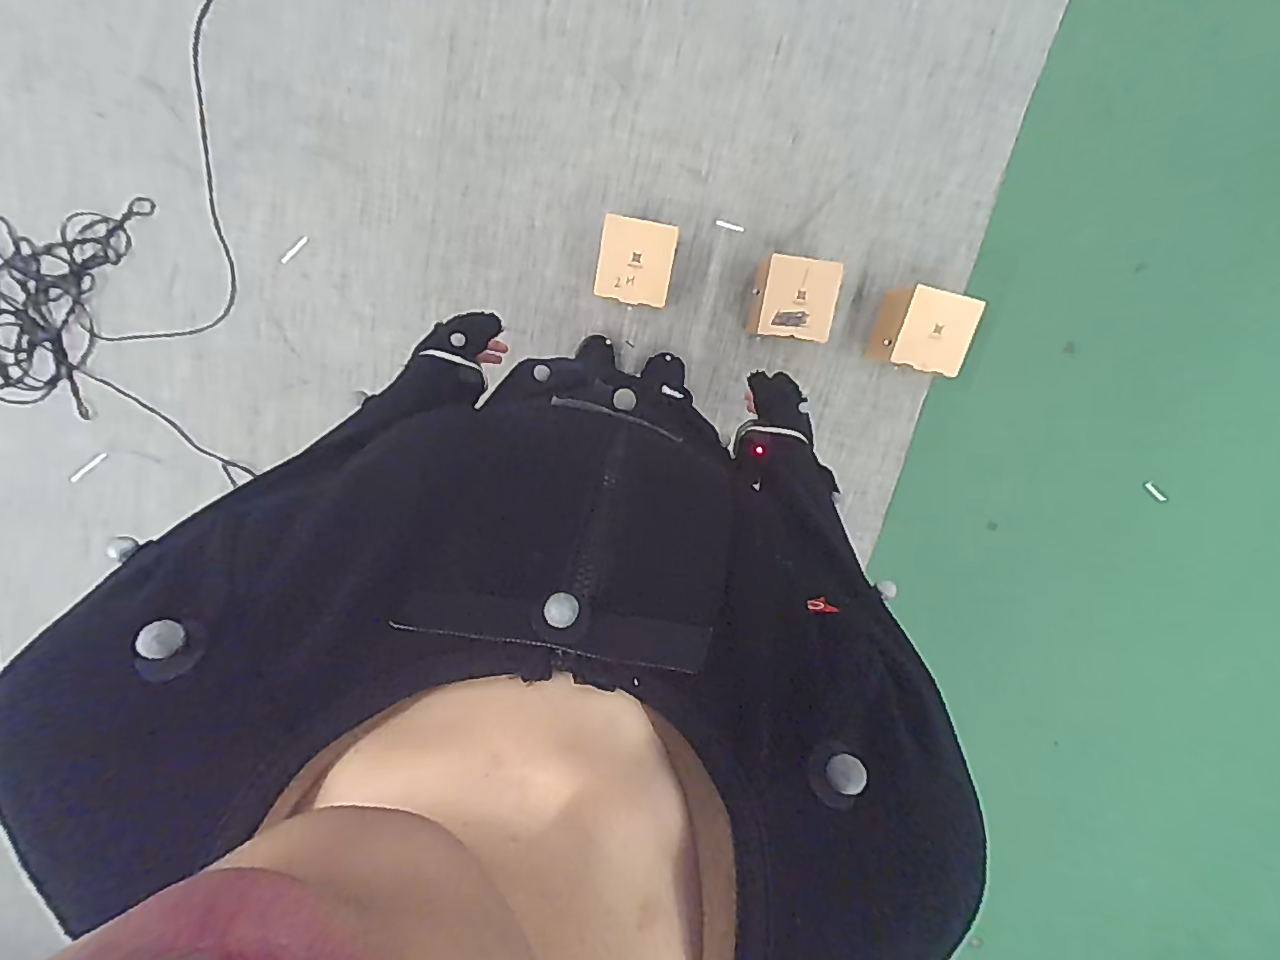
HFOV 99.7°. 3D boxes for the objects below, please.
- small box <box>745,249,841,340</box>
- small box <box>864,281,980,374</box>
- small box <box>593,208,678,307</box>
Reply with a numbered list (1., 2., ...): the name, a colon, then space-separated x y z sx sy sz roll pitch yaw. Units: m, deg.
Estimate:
1. small box: 0.355 -0.437 1.295 0.168 0.176 0.179 8 105 -2
2. small box: 0.671 -0.368 1.313 0.168 0.176 0.179 14 106 -2
3. small box: -0.011 -0.515 1.275 0.168 0.176 0.179 11 106 -1
